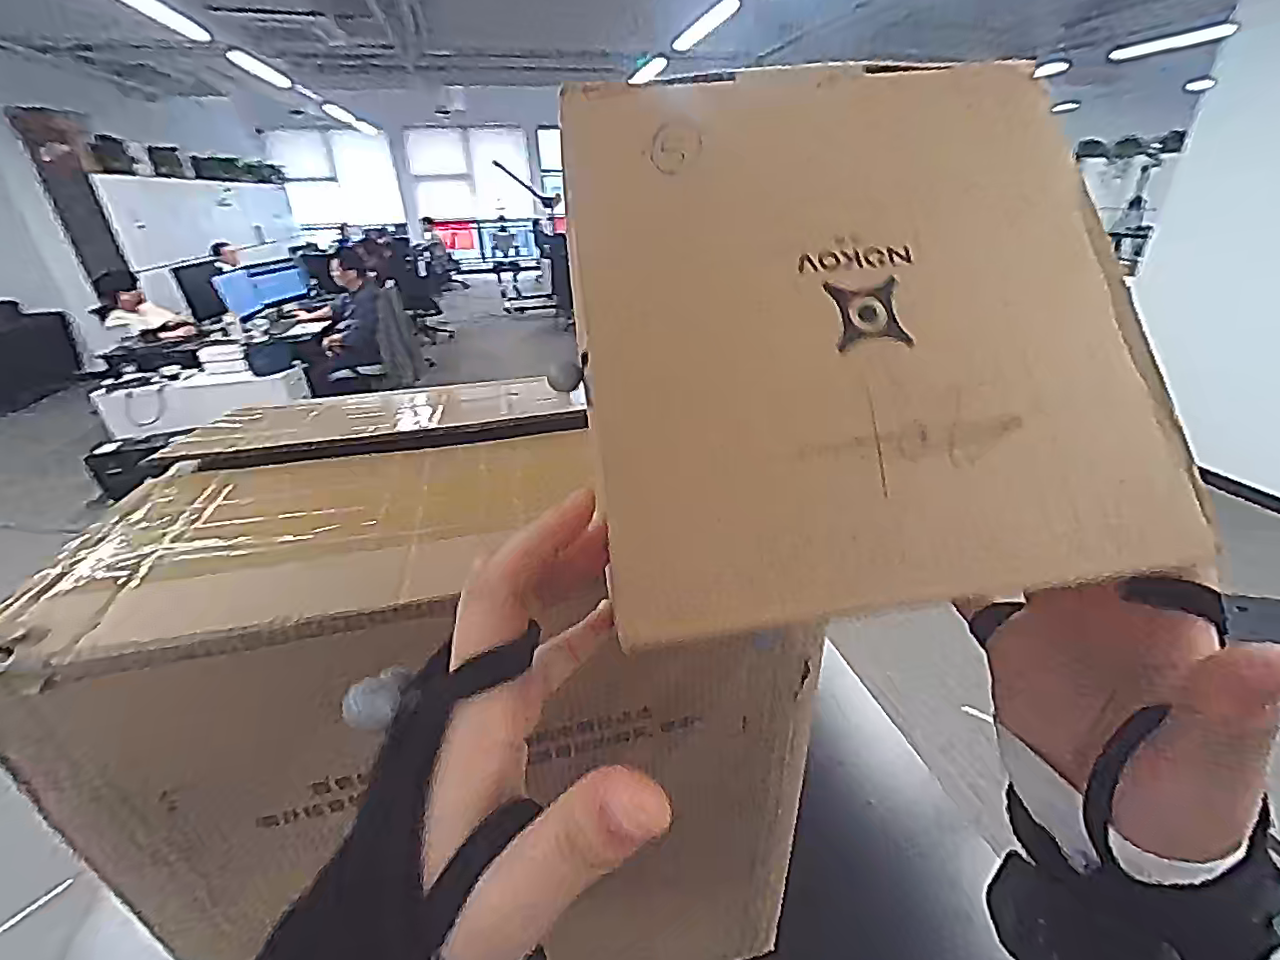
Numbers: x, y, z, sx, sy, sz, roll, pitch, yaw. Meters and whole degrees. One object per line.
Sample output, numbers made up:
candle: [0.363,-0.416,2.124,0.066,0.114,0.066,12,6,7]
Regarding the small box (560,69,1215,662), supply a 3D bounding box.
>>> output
small box: [0.060,-0.028,0.235,0.168,0.179,0.176,-7,-12,-4]
